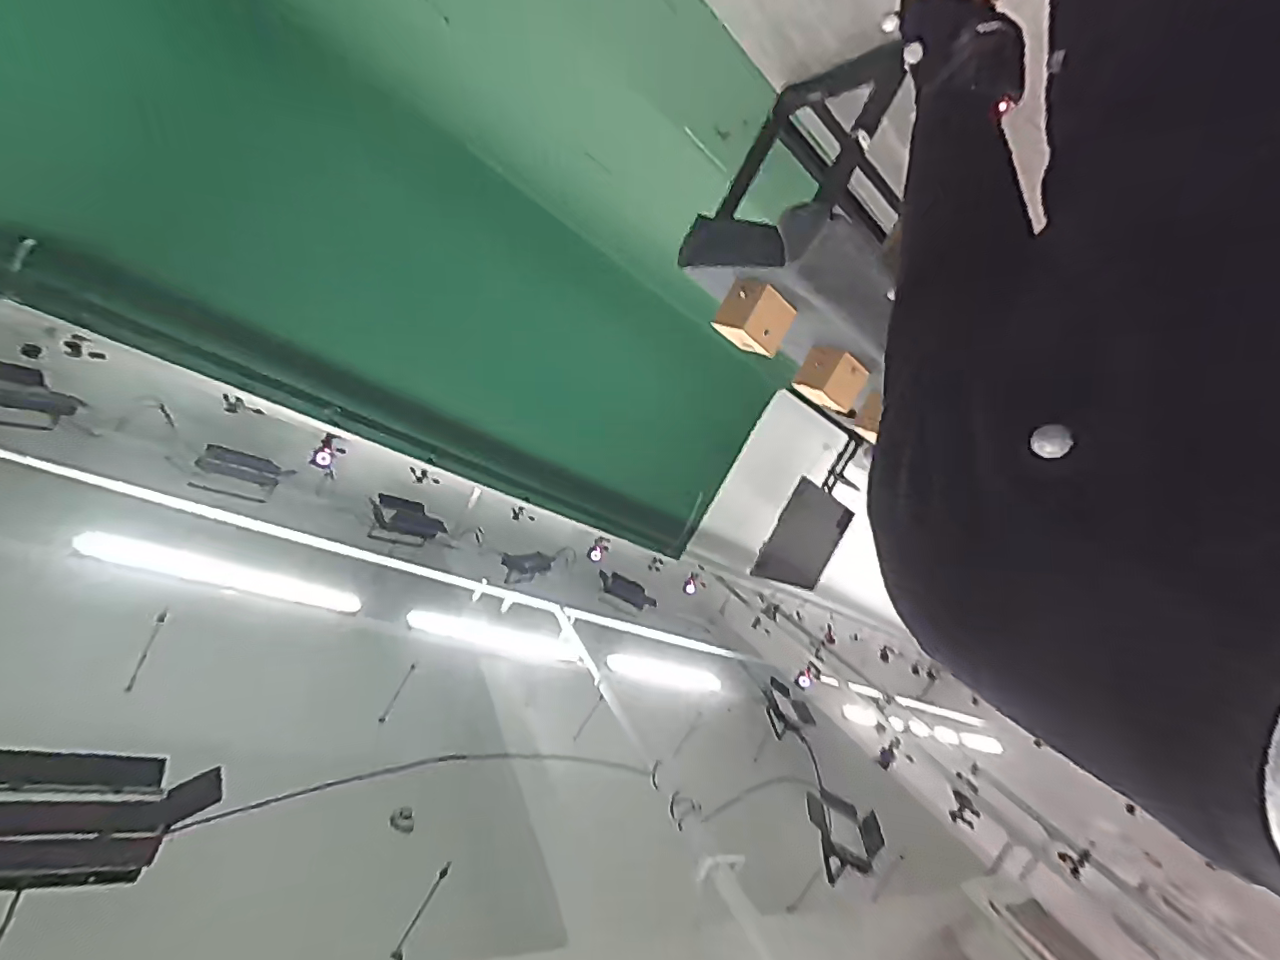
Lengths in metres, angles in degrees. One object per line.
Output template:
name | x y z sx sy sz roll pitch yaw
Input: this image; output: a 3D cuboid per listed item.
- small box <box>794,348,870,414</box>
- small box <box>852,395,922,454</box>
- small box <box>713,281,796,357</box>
small box | 0.721 -0.378 2.031 0.179 0.176 0.168 27 -174 -35
small box | 1.014 -0.231 2.203 0.168 0.176 0.179 29 -173 -25
small box | 0.387 -0.540 1.810 0.179 0.176 0.168 26 -174 -39
